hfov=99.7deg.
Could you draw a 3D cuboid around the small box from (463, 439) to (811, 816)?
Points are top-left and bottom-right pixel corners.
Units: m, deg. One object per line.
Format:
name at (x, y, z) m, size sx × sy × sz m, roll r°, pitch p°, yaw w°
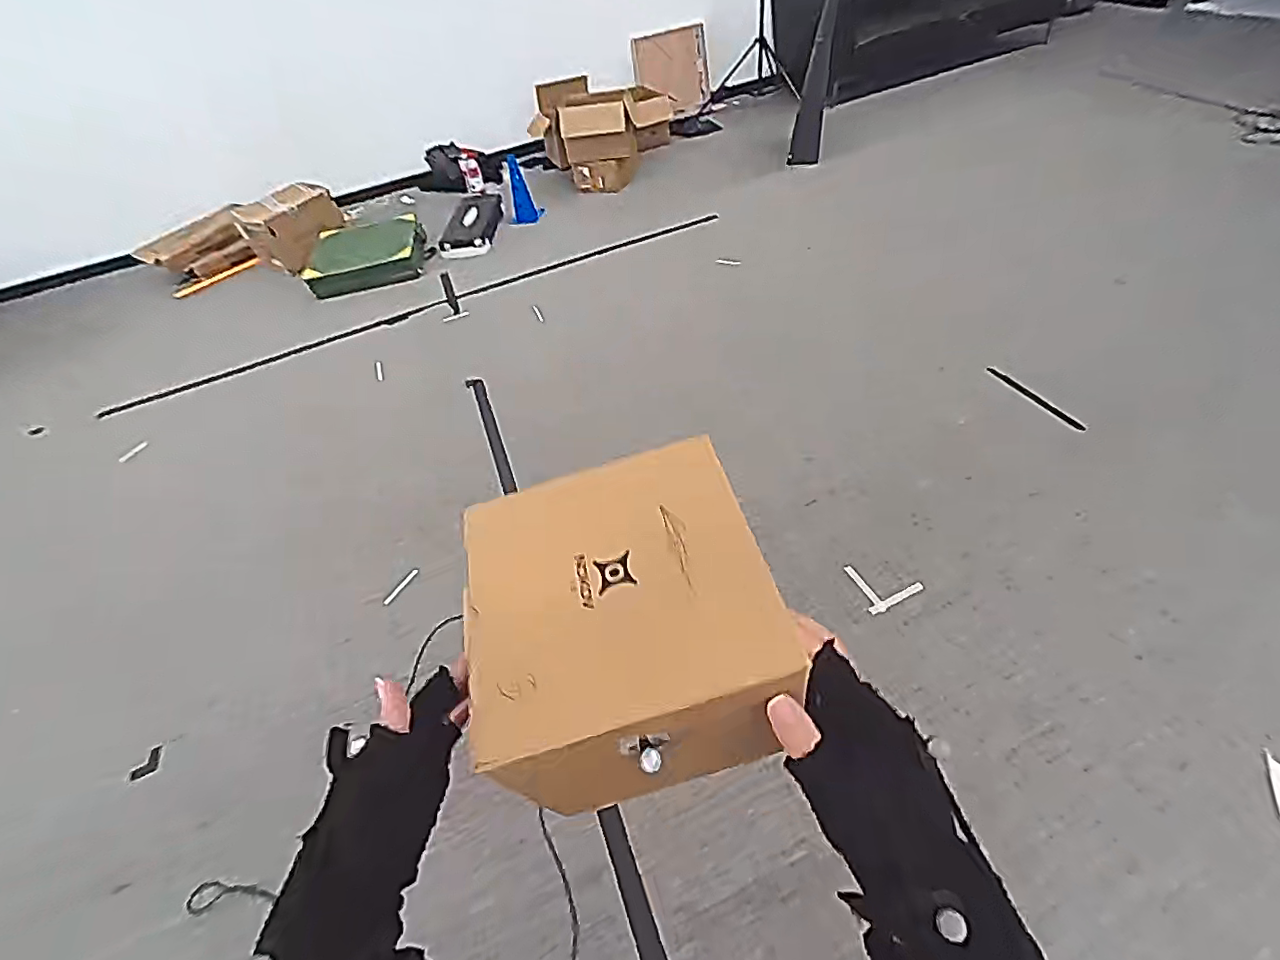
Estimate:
small box at (0.000, 0.106, 0.365) m, size 0.179 × 0.176 × 0.168 m, roll -17°, pitch 50°, yaw 0°
